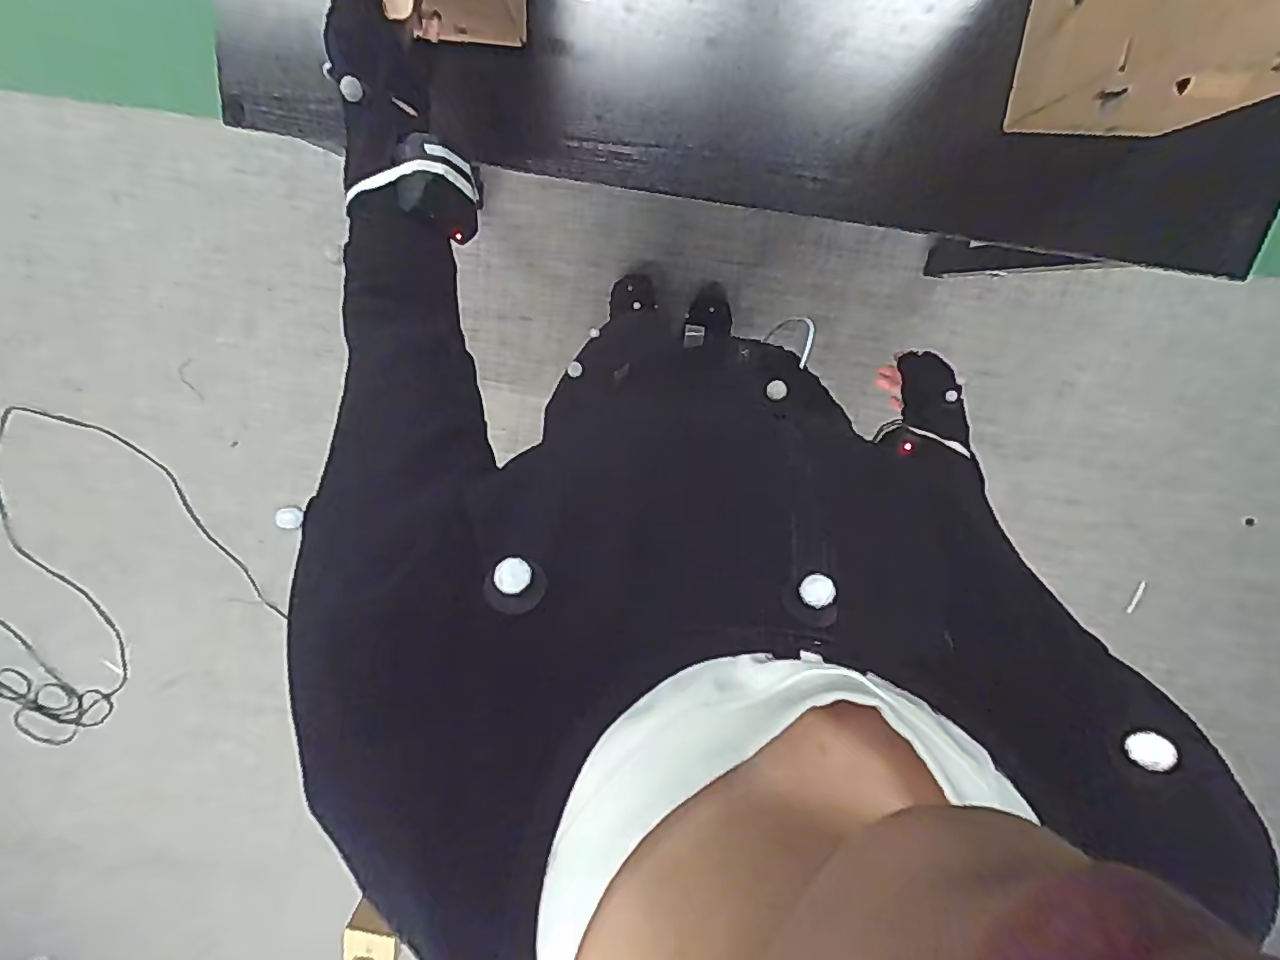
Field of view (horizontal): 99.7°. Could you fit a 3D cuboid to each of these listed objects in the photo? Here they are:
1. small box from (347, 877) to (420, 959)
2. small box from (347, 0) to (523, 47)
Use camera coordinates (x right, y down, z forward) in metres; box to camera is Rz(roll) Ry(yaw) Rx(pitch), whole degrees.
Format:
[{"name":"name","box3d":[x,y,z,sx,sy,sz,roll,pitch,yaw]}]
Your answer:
[{"name":"small box","box3d":[-0.857,1.488,1.813,0.168,0.176,0.179,12,109,-1]},{"name":"small box","box3d":[-0.199,-0.522,0.471,0.168,0.176,0.179,3,111,-2]}]
